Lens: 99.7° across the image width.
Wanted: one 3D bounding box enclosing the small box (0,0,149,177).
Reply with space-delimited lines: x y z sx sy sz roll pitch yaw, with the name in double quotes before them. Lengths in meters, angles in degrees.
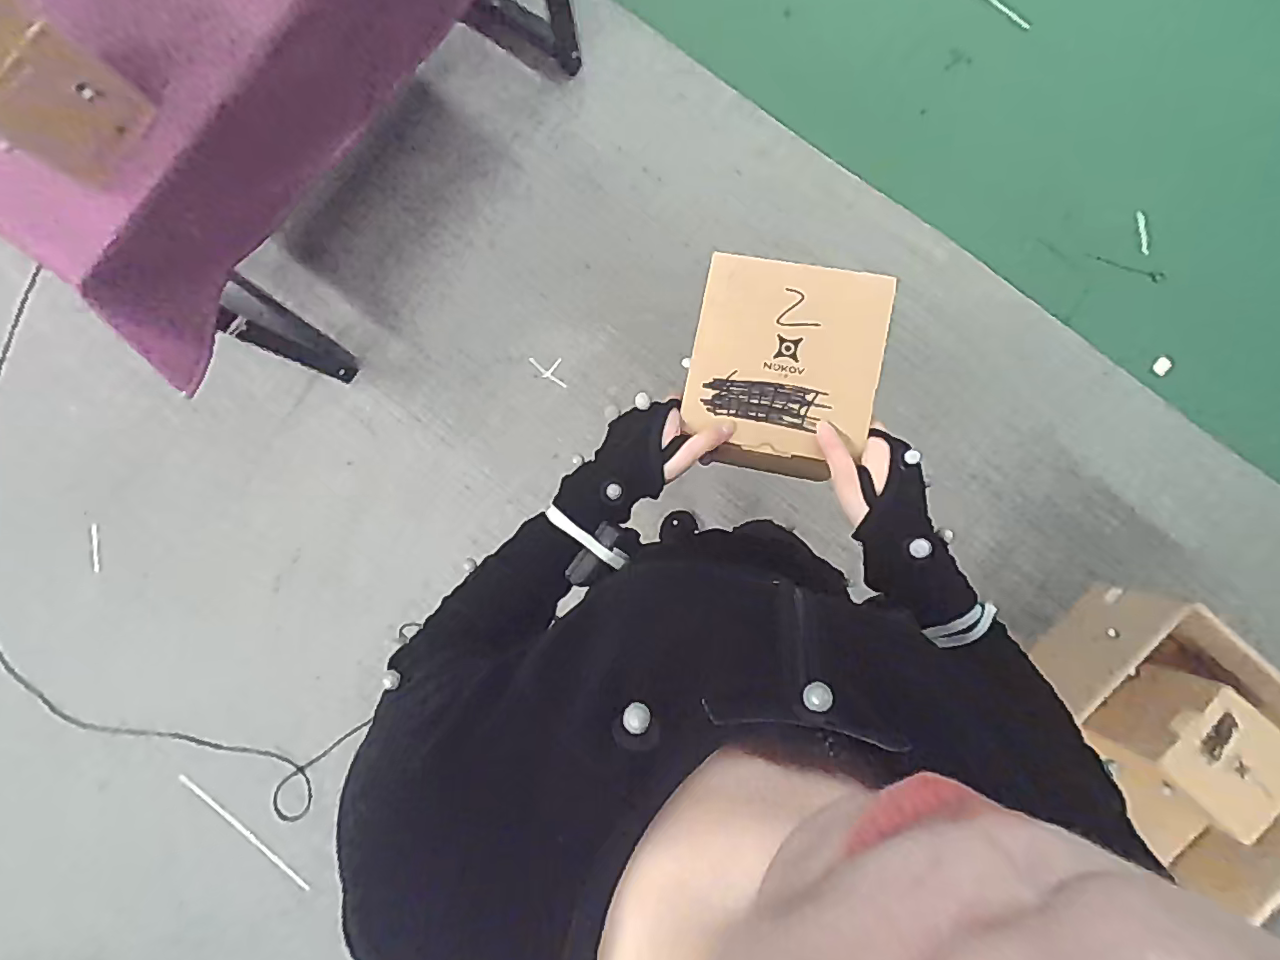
"small box" -0.874 -0.573 0.768 0.179 0.176 0.168 34 87 4
